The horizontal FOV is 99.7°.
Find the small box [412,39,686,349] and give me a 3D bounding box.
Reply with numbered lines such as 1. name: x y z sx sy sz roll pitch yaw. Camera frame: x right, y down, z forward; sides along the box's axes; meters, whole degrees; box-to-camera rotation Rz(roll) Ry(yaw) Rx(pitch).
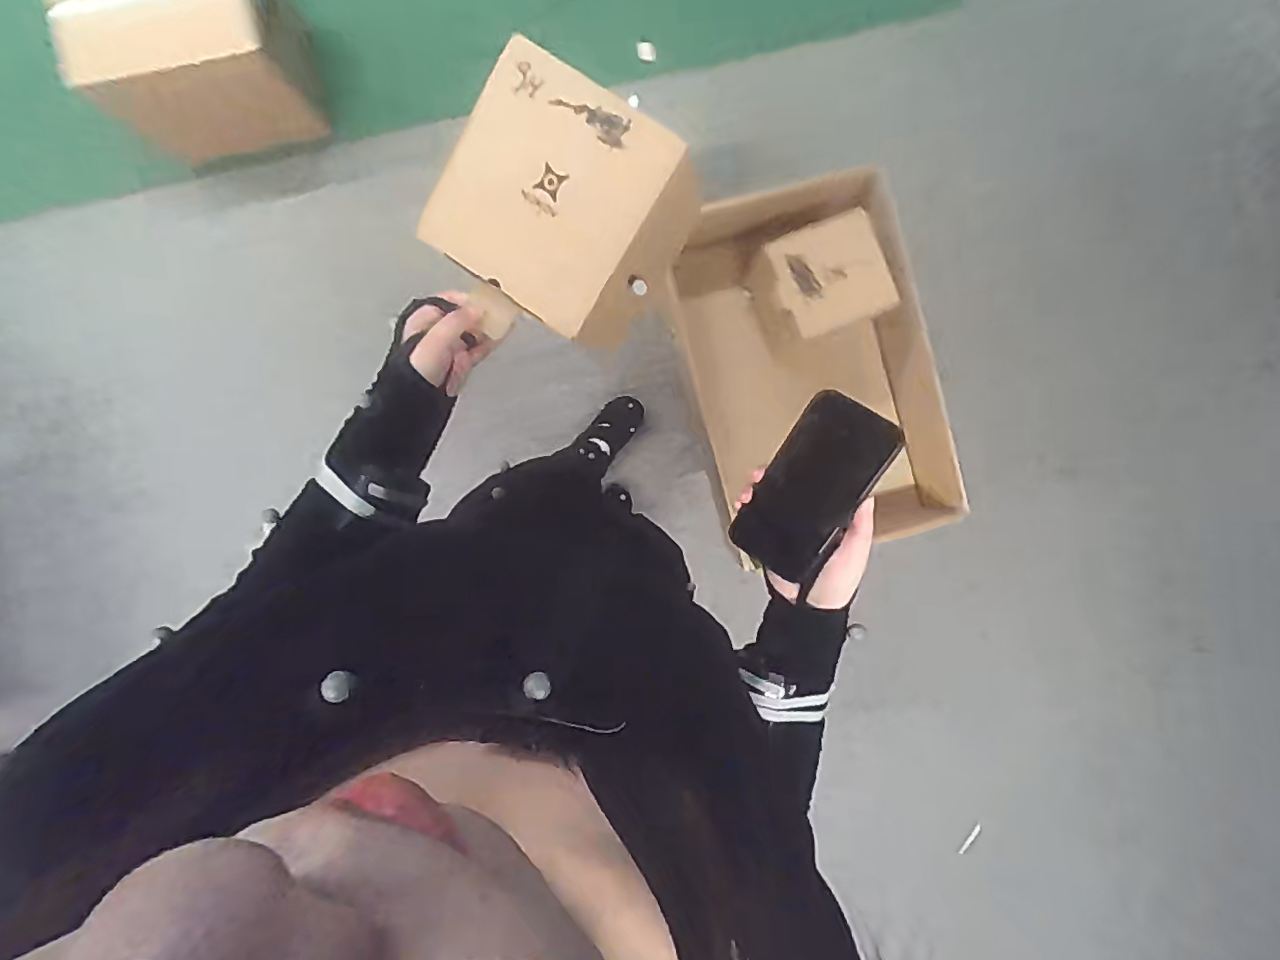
1. small box: -0.069 -0.240 0.510 0.168 0.176 0.179 34 104 3
